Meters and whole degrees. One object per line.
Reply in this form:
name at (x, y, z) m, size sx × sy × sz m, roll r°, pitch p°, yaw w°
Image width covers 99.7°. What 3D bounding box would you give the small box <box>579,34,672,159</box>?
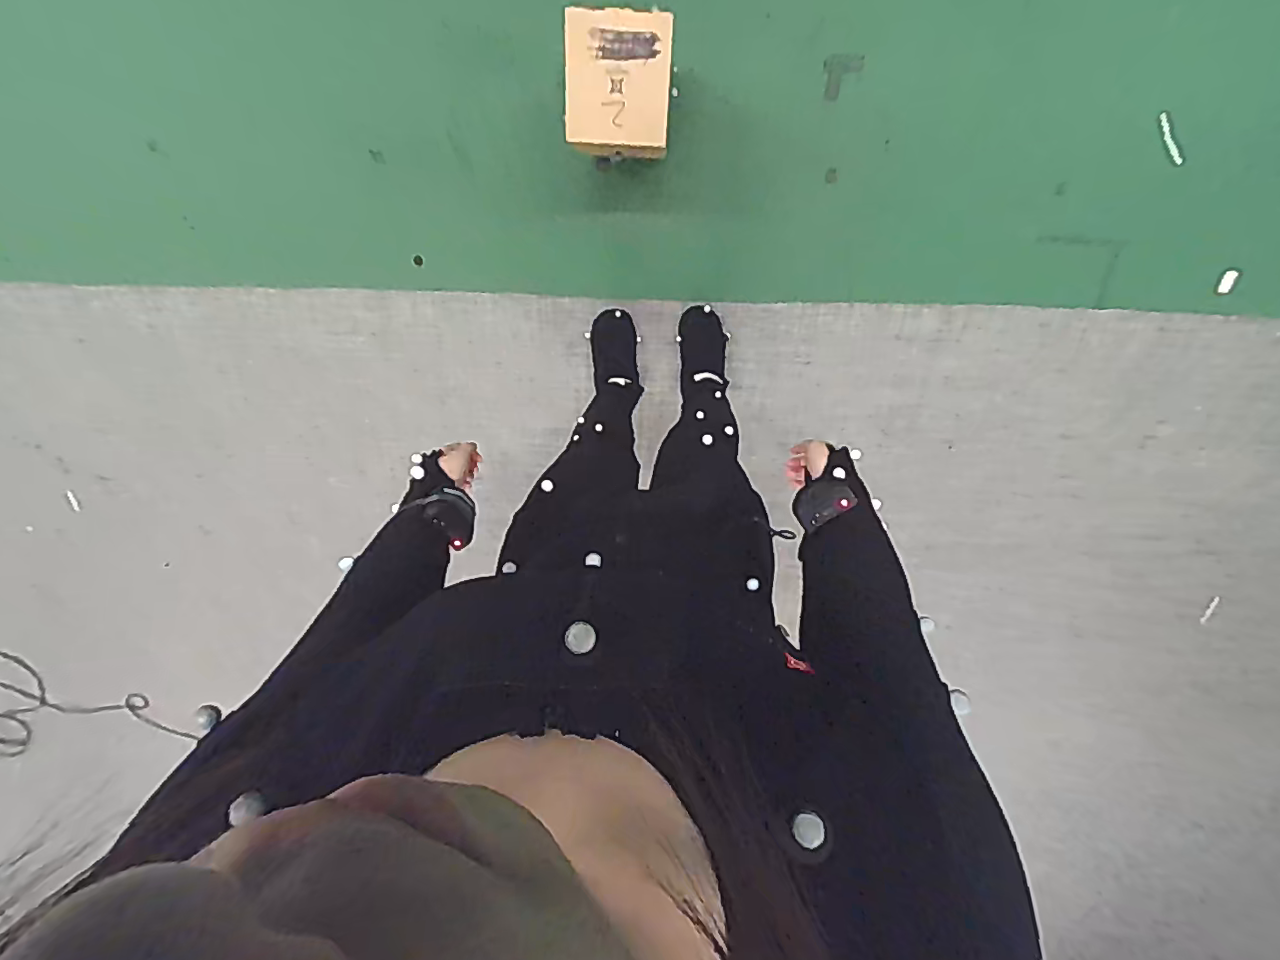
small box at (-0.026, -0.734, 1.054) m, size 0.168 × 0.176 × 0.179 m, roll 3°, pitch 116°, yaw 1°
